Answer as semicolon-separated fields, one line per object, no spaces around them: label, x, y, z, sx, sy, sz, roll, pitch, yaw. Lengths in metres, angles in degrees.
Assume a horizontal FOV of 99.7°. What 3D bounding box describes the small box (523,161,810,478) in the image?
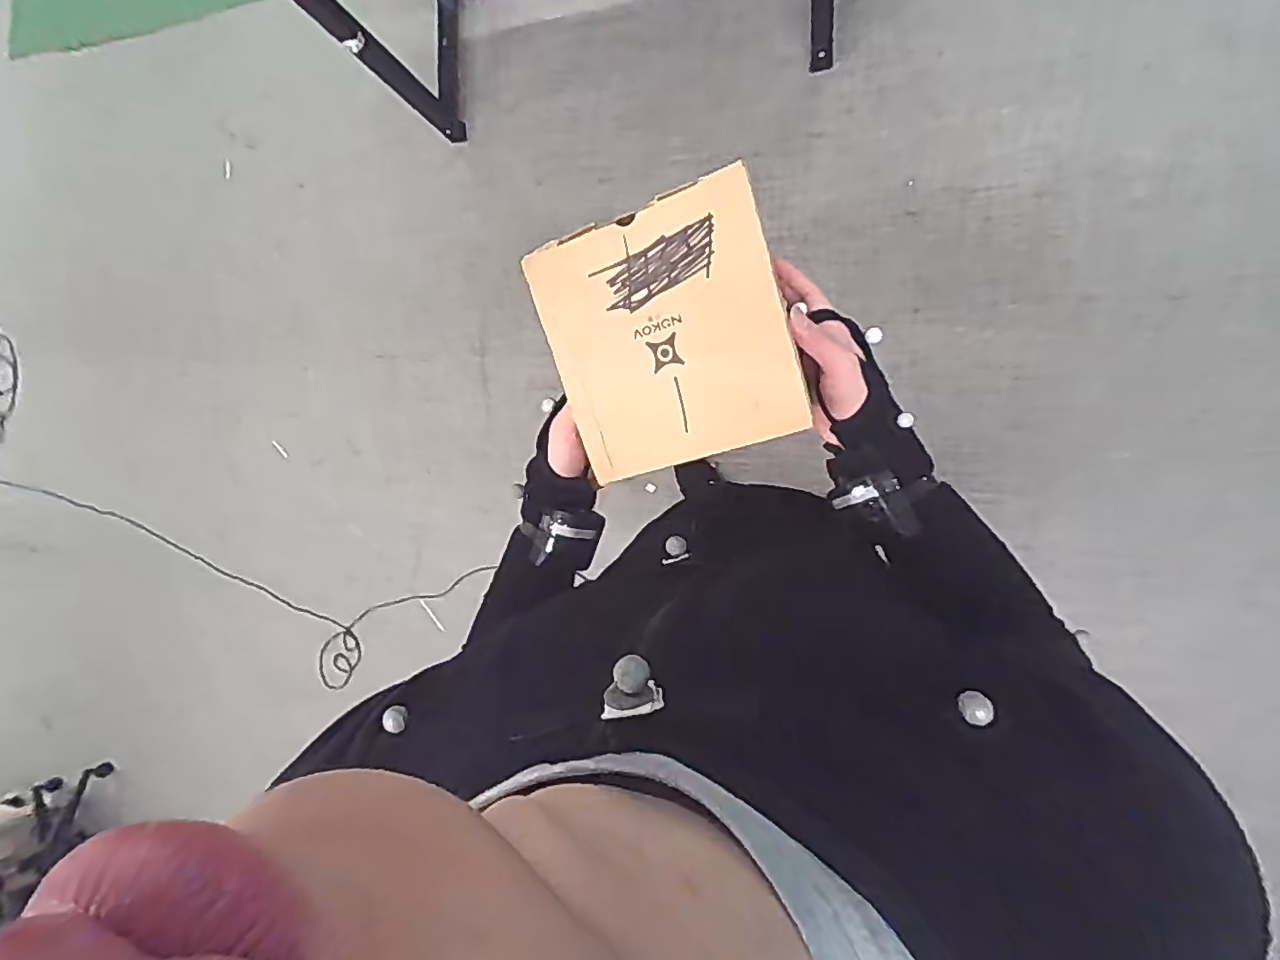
small box;0.035;-0.119;0.447;0.168;0.176;0.179;-14;101;19
